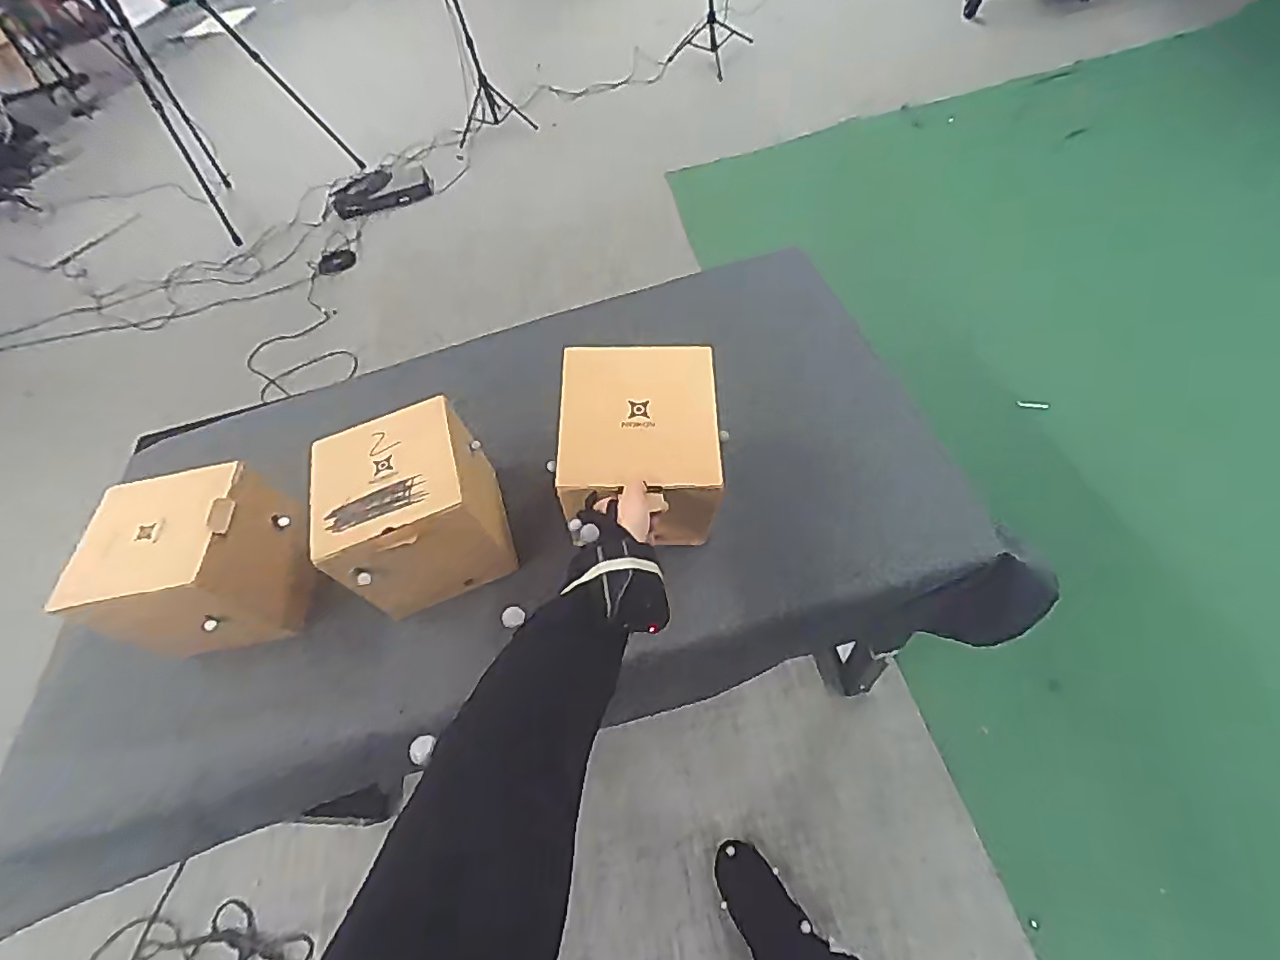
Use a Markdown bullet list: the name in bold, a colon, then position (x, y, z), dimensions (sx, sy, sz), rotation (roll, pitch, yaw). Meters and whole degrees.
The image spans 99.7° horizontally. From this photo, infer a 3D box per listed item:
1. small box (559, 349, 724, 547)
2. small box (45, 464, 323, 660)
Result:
- **small box**: position (-0.001, -0.032, 0.636), dimensions (0.168, 0.176, 0.179), rotation (-1, 63, -1)
- **small box**: position (-0.534, 0.107, 0.670), dimensions (0.179, 0.176, 0.168), rotation (-12, 54, 4)
